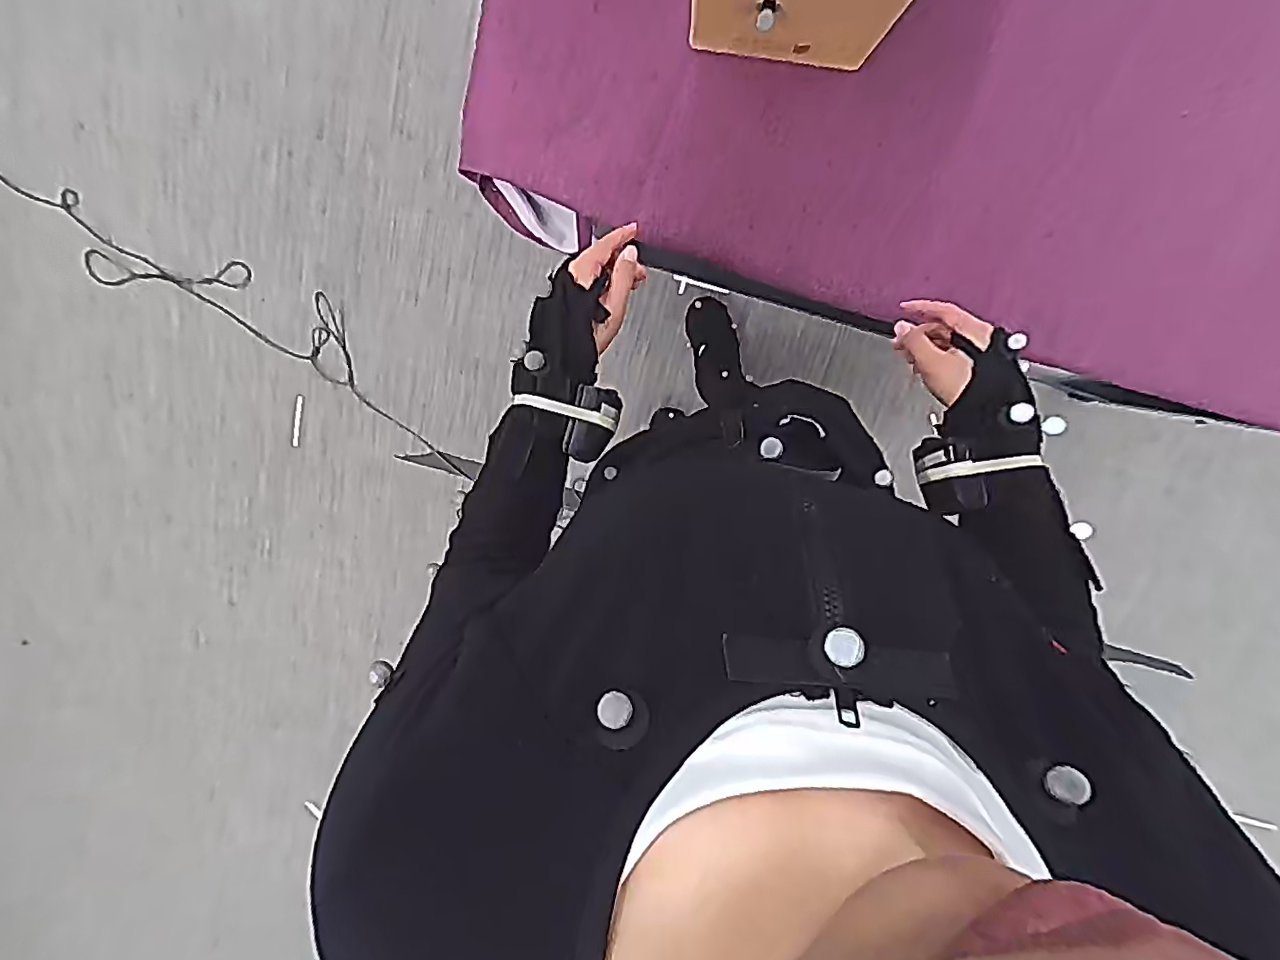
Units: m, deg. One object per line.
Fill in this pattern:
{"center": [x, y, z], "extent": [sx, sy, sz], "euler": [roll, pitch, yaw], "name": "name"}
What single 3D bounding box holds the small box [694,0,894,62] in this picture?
{"center": [0.135, -0.468, 0.424], "extent": [0.168, 0.176, 0.179], "euler": [8, 106, 1], "name": "small box"}
